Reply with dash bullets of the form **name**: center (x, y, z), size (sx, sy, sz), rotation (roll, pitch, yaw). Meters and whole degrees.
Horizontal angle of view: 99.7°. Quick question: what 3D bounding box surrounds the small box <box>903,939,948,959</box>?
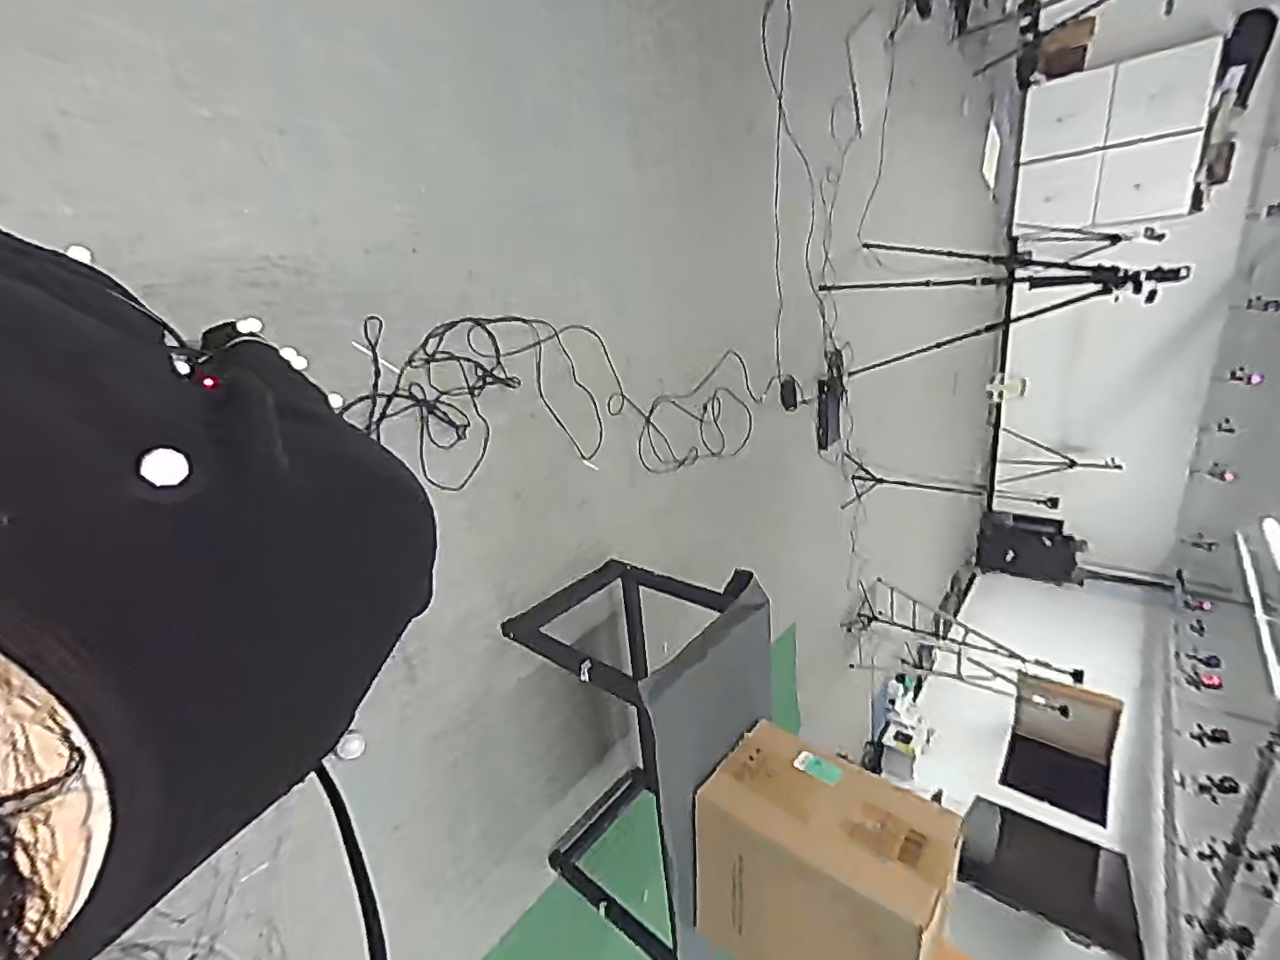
- **small box**: center (0.713, 1.289, 1.307), size (0.179, 0.176, 0.168), rotation (-10, 107, -47)
